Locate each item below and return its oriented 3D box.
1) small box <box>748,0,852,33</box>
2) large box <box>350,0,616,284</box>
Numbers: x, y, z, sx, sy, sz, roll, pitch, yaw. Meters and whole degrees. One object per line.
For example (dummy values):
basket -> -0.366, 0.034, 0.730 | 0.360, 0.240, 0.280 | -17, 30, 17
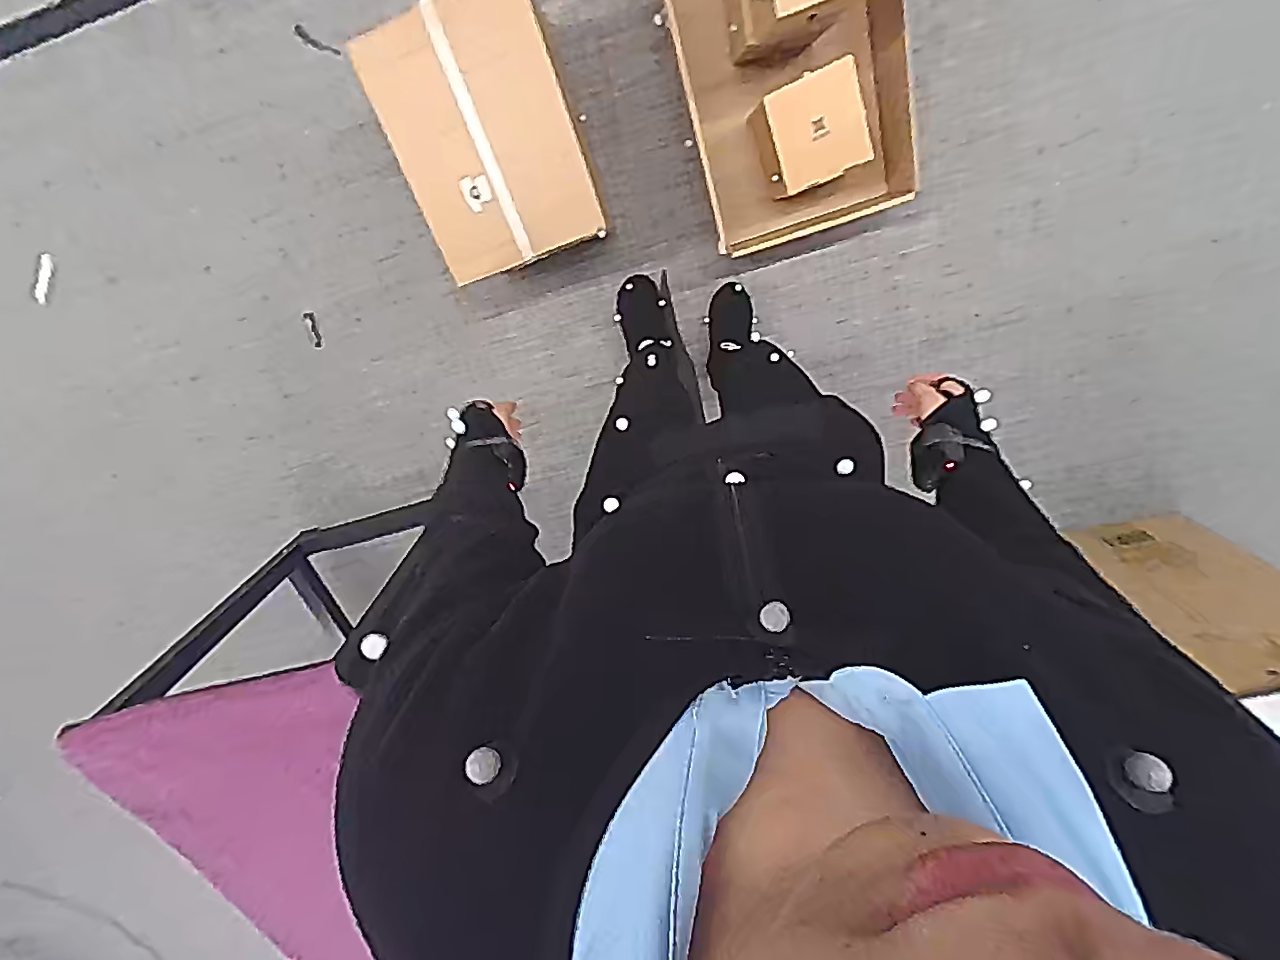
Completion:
small box -> 0.253, -0.815, 0.816 | 0.168, 0.176, 0.179 | -16, 116, 7
large box -> -0.264, -0.654, 1.067 | 0.320, 0.320, 0.408 | -17, 116, 10
